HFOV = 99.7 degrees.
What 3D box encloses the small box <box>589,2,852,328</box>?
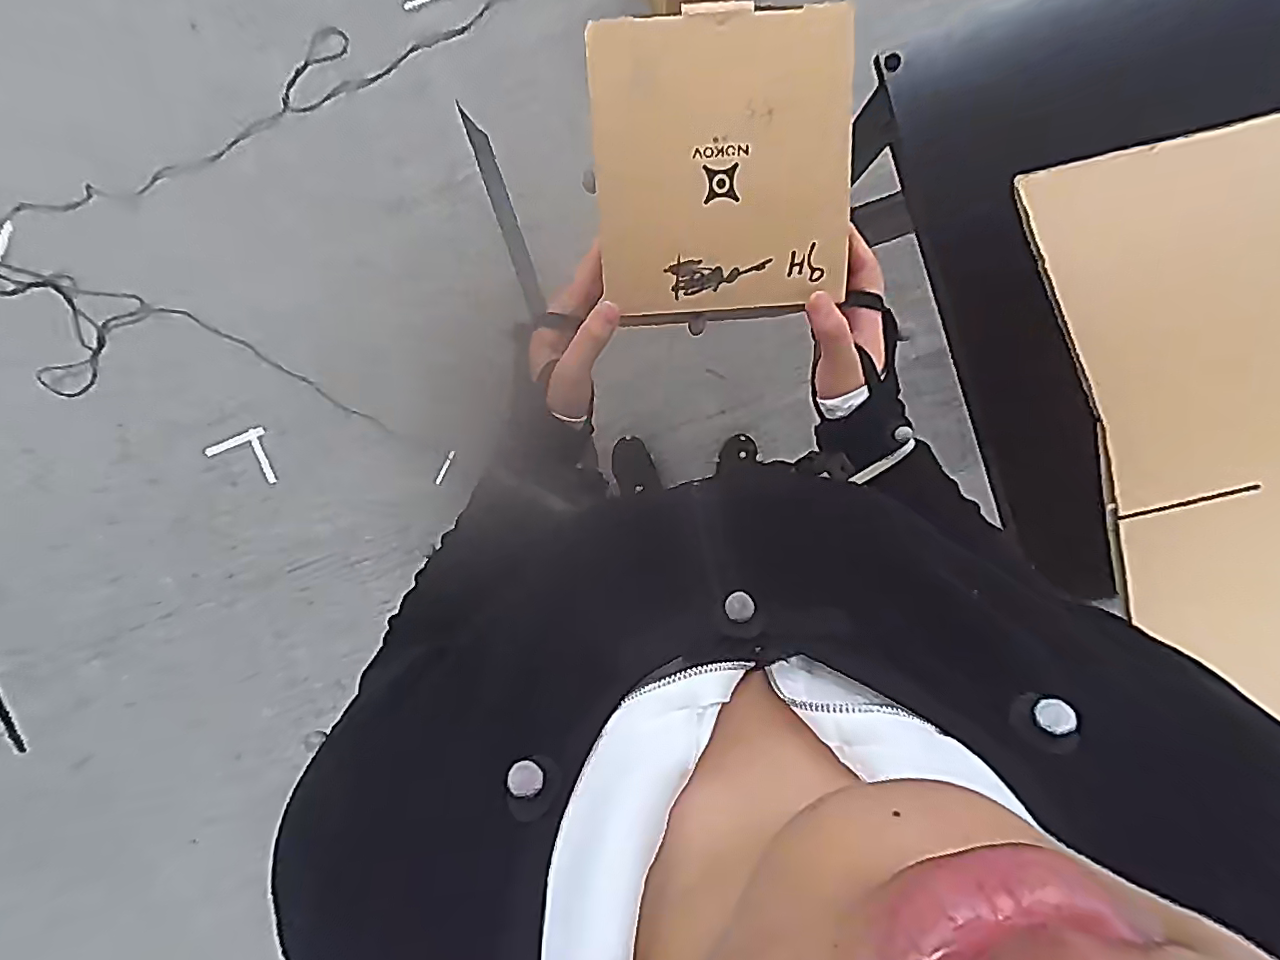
[{"bbox_3d":[0.052,-0.219,0.424,0.168,0.176,0.179,-4,103,1],"label":"small box"}]
